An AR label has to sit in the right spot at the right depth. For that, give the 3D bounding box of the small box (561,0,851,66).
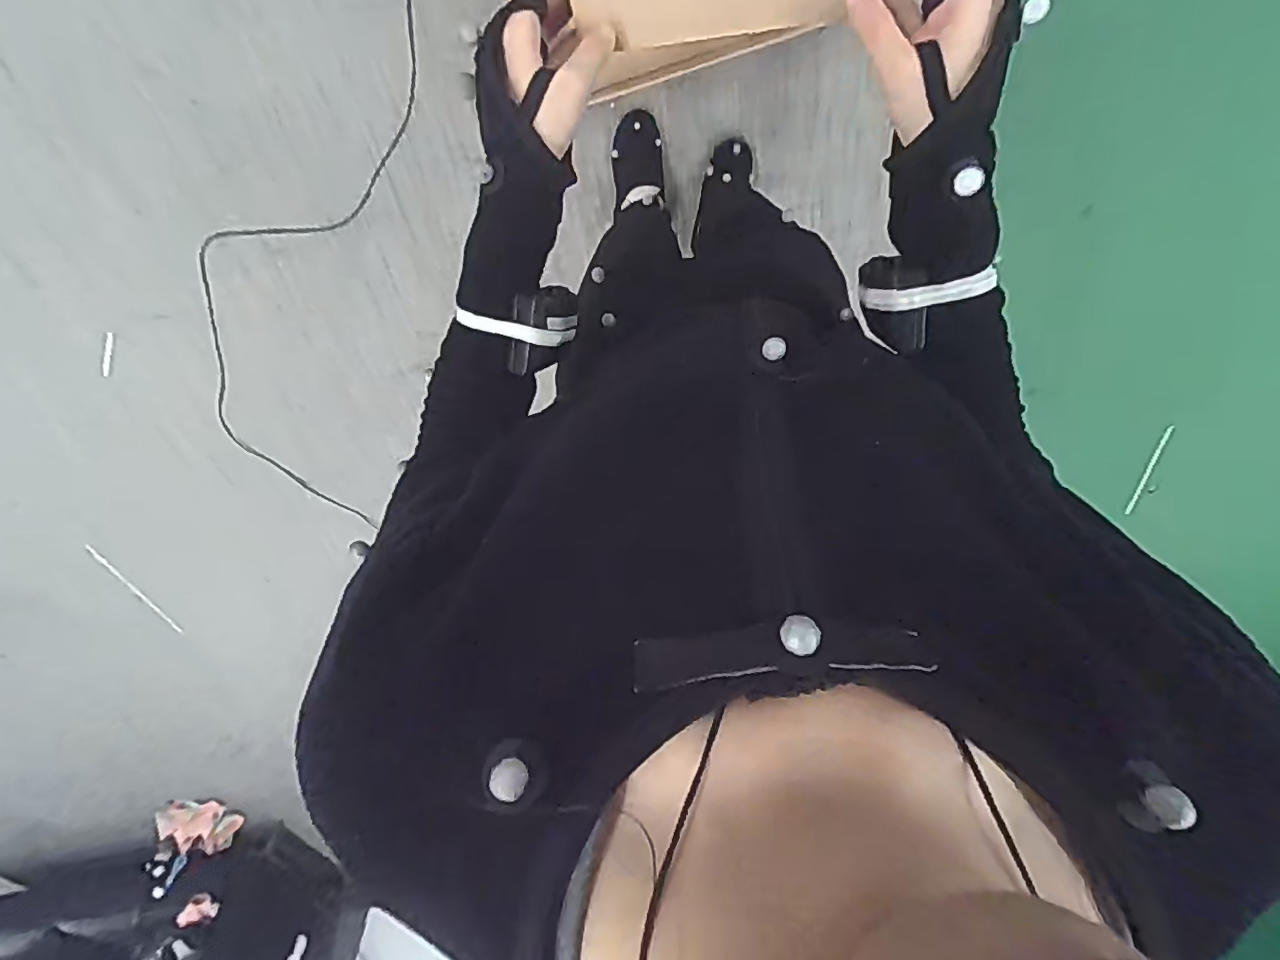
[{"bbox_3d":[0.039,-0.388,0.326,0.179,0.176,0.168,1,144,12],"label":"small box"}]
